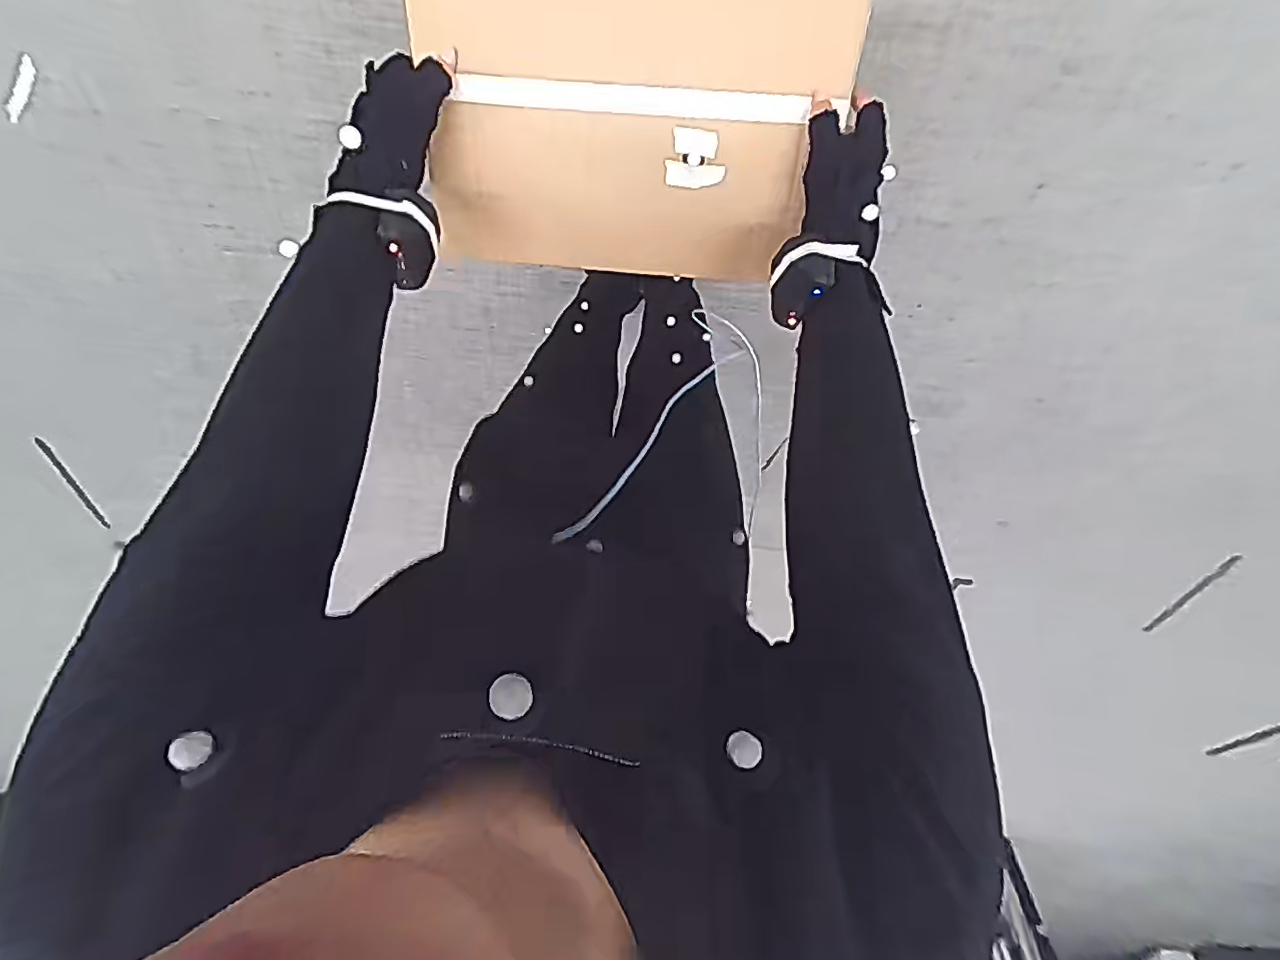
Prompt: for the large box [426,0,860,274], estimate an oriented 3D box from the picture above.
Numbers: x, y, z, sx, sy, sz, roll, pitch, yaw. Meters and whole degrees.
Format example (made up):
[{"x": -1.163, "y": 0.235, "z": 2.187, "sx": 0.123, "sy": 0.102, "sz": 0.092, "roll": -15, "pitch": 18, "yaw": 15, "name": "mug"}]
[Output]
[{"x": 0.003, "y": -0.453, "z": 0.657, "sx": 0.408, "sy": 0.320, "sz": 0.320, "roll": 5, "pitch": 124, "yaw": 1, "name": "large box"}]
